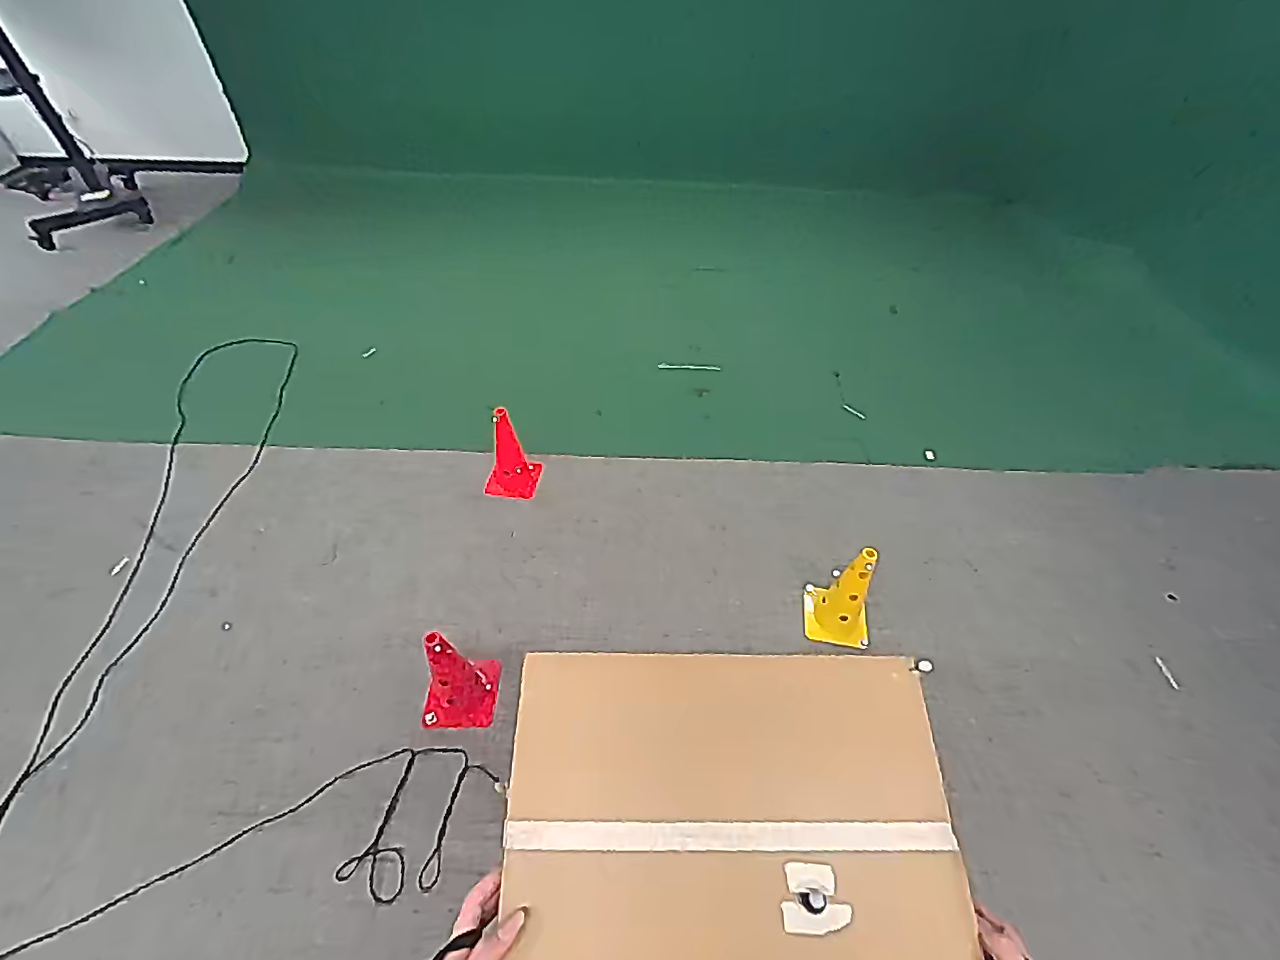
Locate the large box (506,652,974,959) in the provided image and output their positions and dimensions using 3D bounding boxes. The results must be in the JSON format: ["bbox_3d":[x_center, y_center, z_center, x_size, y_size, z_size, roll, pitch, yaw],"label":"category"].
[{"bbox_3d":[0.079,0.390,0.628,0.408,0.320,0.320,0,63,-1],"label":"large box"}]

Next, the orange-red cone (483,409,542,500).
[{"bbox_3d":[-0.508,-0.117,2.046,0.199,0.360,0.198,6,47,6],"label":"orange-red cone"}]
